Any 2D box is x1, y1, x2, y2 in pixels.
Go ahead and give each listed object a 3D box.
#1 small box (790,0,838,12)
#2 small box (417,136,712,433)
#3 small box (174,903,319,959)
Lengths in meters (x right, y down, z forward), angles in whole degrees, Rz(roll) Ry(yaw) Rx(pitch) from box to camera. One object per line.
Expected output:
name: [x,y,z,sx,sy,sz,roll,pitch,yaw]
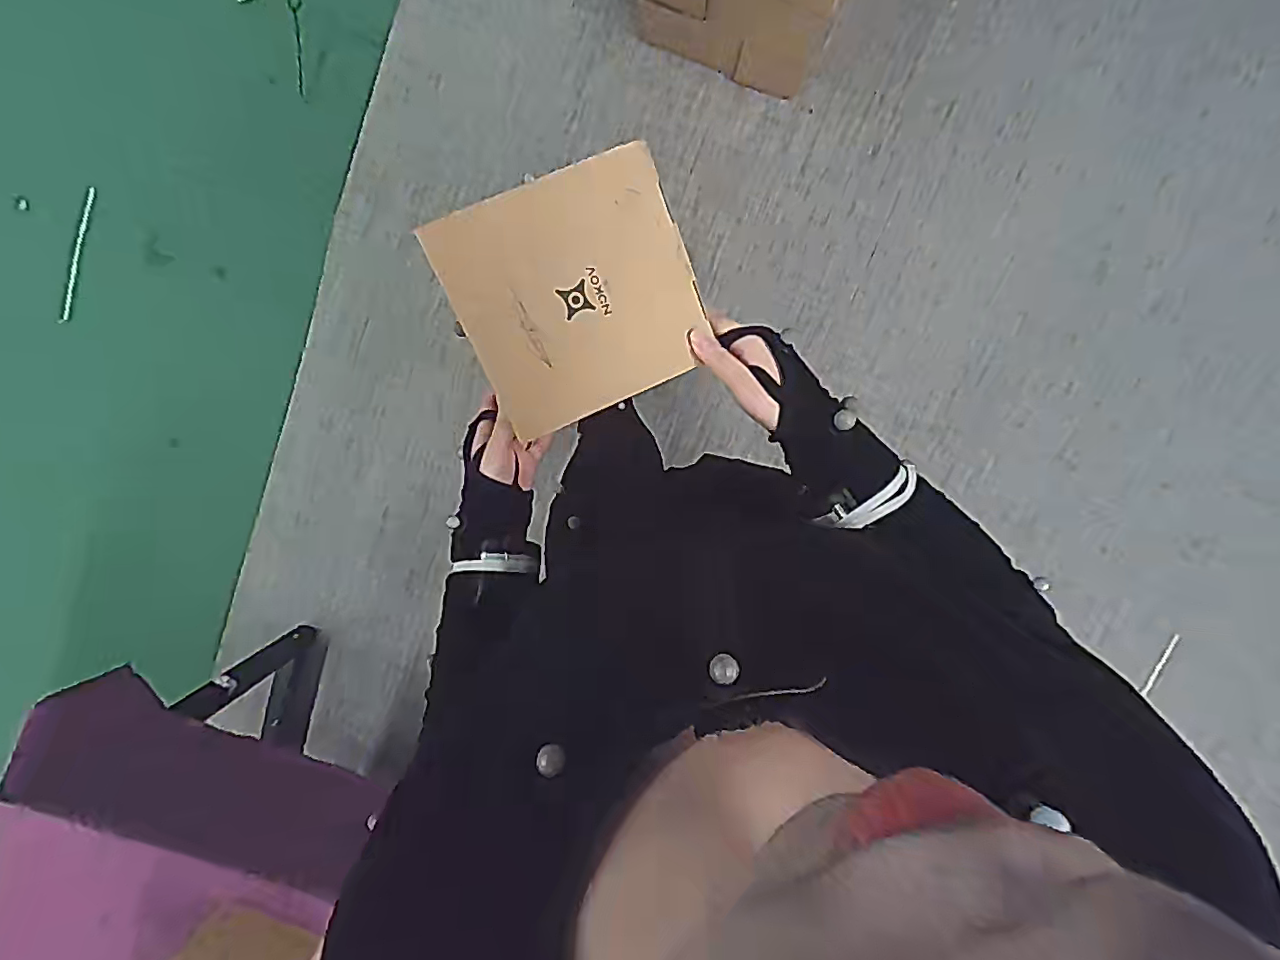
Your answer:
small box: [0.313,-0.972,0.935,0.179,0.176,0.168,22,97,-1]
small box: [-0.064,-0.160,0.474,0.179,0.176,0.168,-24,108,-5]
small box: [-0.623,0.789,0.806,0.179,0.176,0.168,20,99,0]
